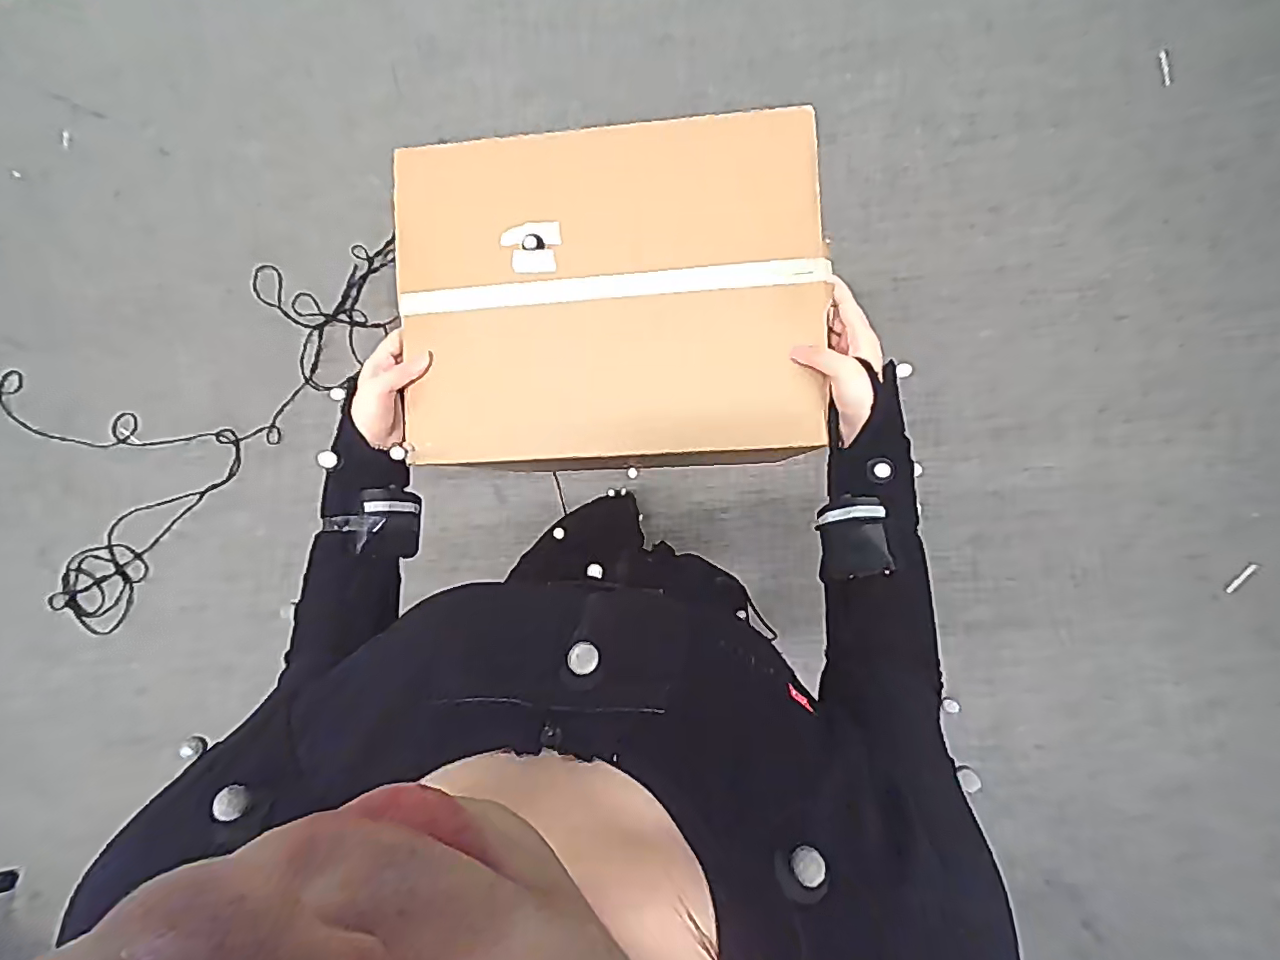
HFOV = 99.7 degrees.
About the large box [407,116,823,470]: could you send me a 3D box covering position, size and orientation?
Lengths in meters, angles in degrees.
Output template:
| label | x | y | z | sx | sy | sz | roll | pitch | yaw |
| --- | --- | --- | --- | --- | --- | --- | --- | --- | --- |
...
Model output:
| label | x | y | z | sx | sy | sz | roll | pitch | yaw |
| --- | --- | --- | --- | --- | --- | --- | --- | --- | --- |
| large box | -0.015 | -0.178 | 0.674 | 0.408 | 0.320 | 0.320 | -3 | 89 | 7 |
